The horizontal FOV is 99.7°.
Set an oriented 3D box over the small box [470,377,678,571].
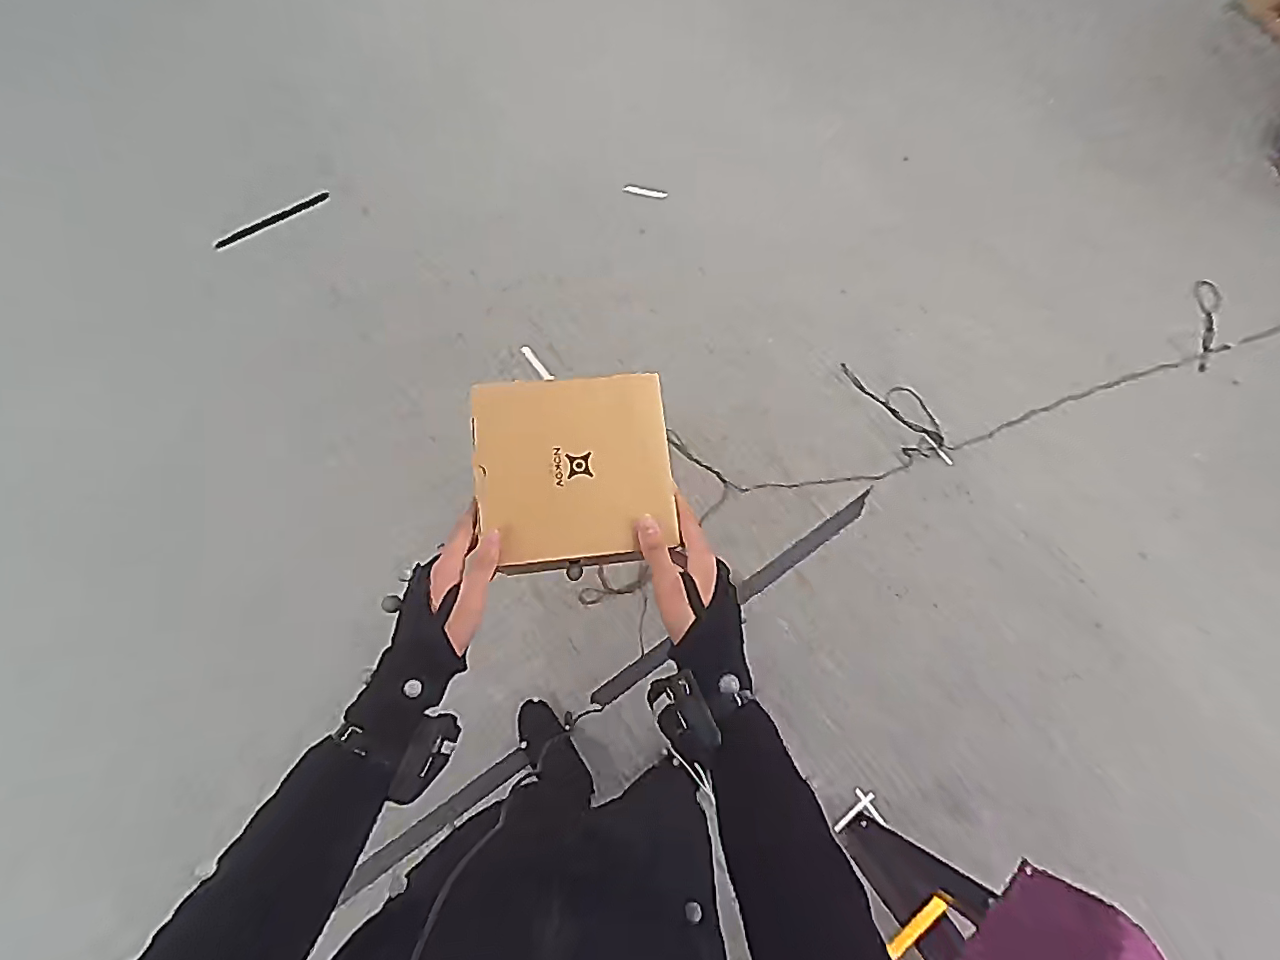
[{"bbox_3d":[-0.068,0.003,0.563,0.179,0.176,0.168,-6,80,-6],"label":"small box"}]
